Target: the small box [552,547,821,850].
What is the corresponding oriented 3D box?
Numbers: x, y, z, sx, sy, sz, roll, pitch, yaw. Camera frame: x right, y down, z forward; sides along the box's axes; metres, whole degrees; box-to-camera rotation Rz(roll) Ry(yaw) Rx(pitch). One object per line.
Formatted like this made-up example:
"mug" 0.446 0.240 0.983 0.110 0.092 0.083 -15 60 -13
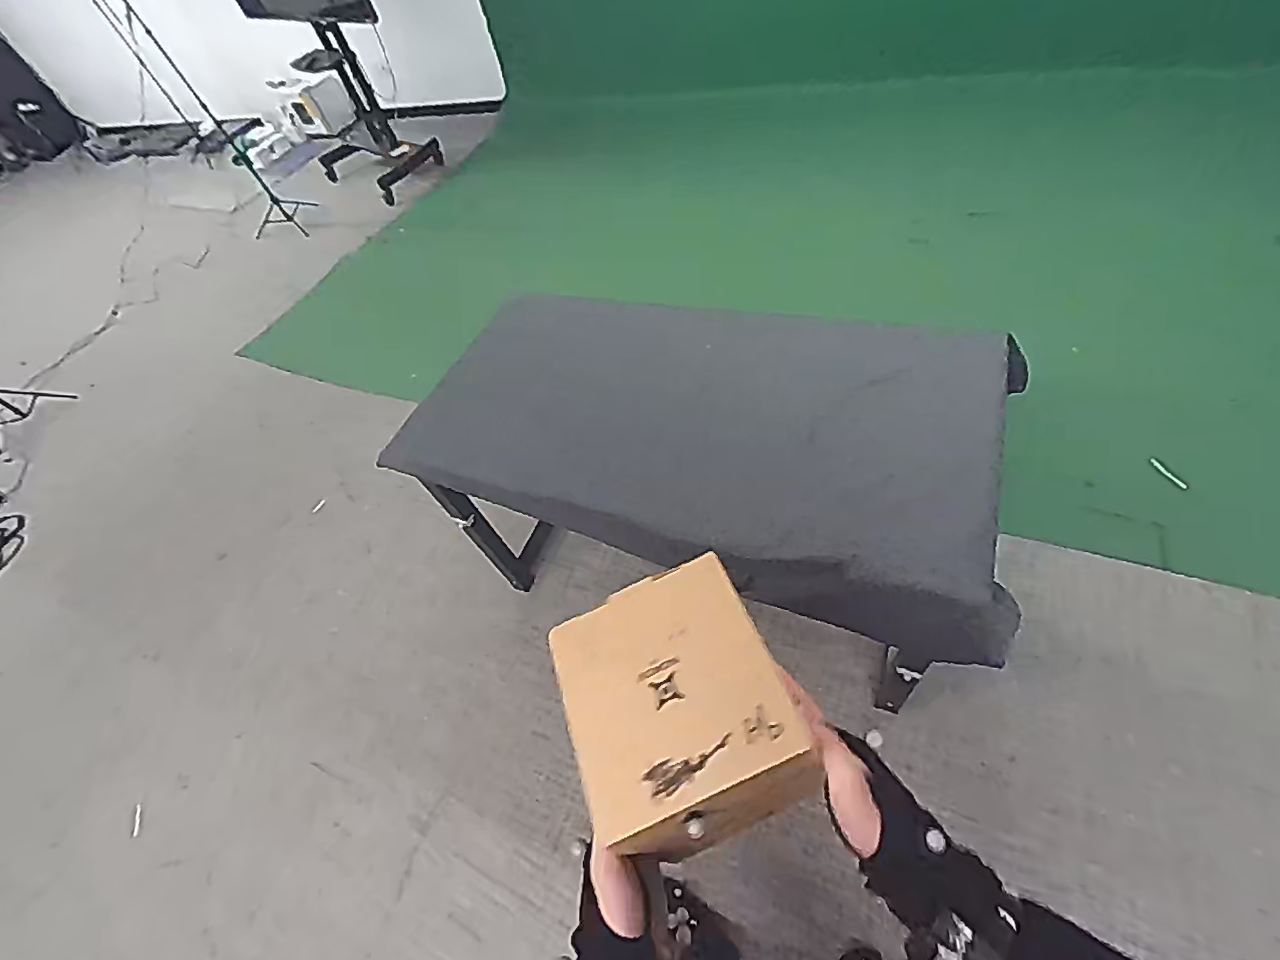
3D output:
"small box" 0.043 0.198 0.484 0.168 0.176 0.179 -26 49 0
